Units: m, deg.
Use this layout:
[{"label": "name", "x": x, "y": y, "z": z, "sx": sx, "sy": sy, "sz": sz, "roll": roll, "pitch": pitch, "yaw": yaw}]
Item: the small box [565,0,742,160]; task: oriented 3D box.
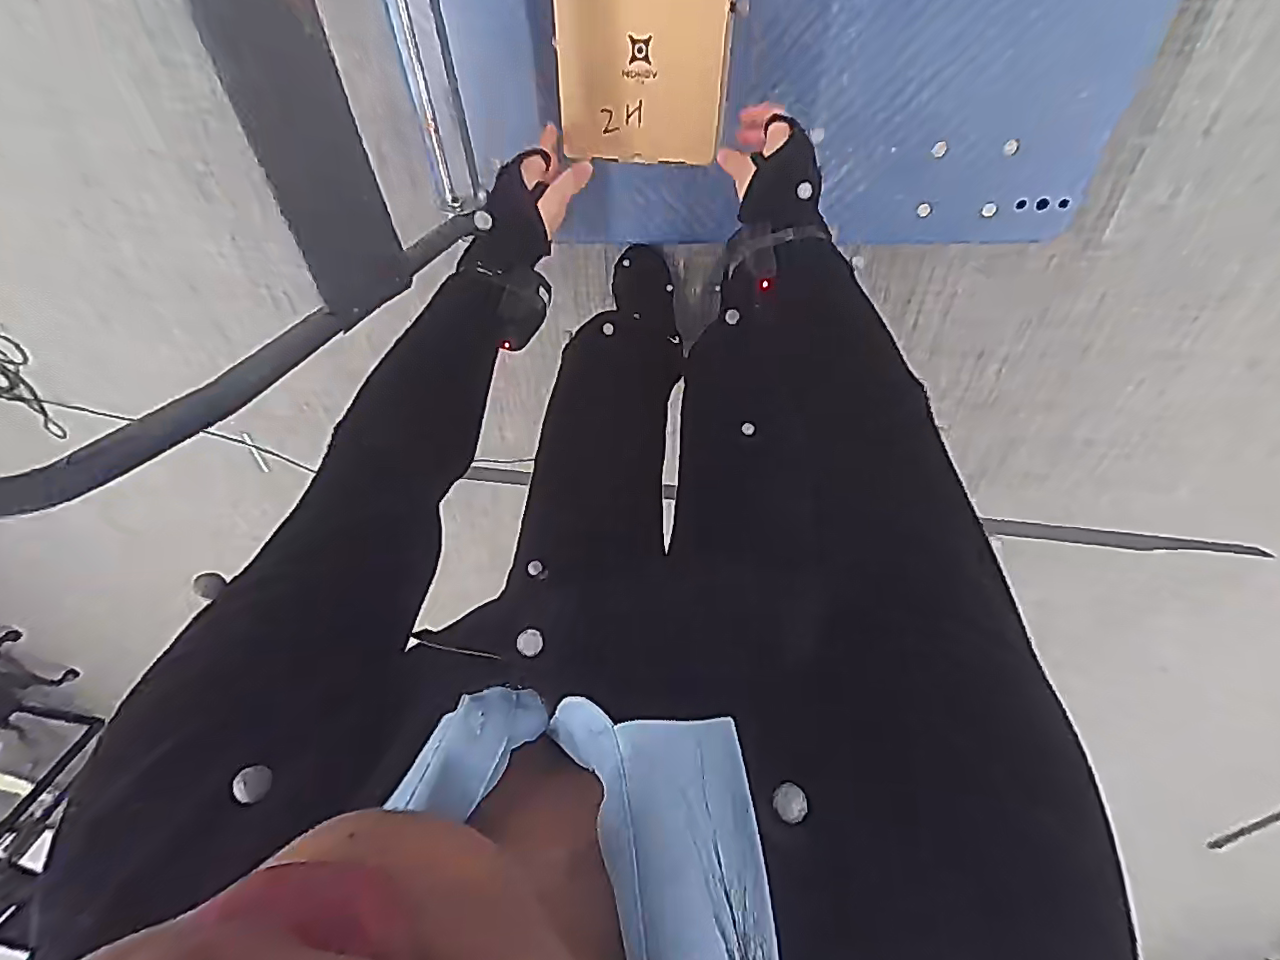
[{"label": "small box", "x": 0.020, "y": -0.465, "z": 0.584, "sx": 0.168, "sy": 0.176, "sz": 0.179, "roll": 7, "pitch": 132, "yaw": 6}]
